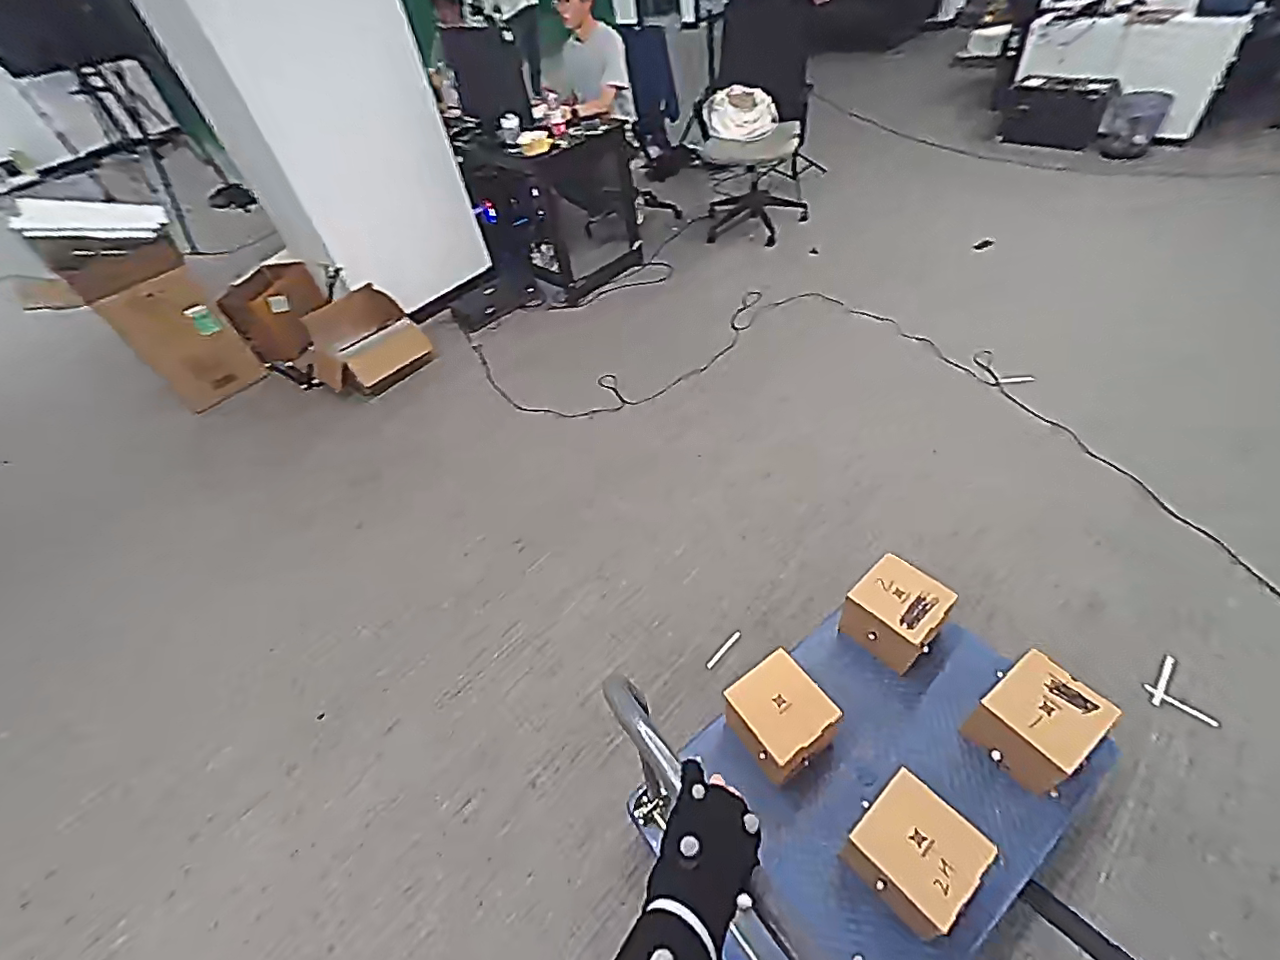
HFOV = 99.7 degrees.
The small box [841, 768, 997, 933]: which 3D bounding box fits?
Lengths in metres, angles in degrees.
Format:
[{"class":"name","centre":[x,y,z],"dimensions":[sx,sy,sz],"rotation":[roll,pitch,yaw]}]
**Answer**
[{"class":"small box","centre":[0.485,0.666,0.969],"dimensions":[0.168,0.176,0.179],"rotation":[-36,51,-21]}]

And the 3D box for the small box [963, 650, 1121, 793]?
[{"class":"small box","centre":[0.784,0.482,1.077],"dimensions":[0.179,0.176,0.168],"rotation":[-33,50,-17]}]

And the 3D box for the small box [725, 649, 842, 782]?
[{"class":"small box","centre":[0.295,0.504,1.154],"dimensions":[0.168,0.176,0.179],"rotation":[-30,52,-17]}]
